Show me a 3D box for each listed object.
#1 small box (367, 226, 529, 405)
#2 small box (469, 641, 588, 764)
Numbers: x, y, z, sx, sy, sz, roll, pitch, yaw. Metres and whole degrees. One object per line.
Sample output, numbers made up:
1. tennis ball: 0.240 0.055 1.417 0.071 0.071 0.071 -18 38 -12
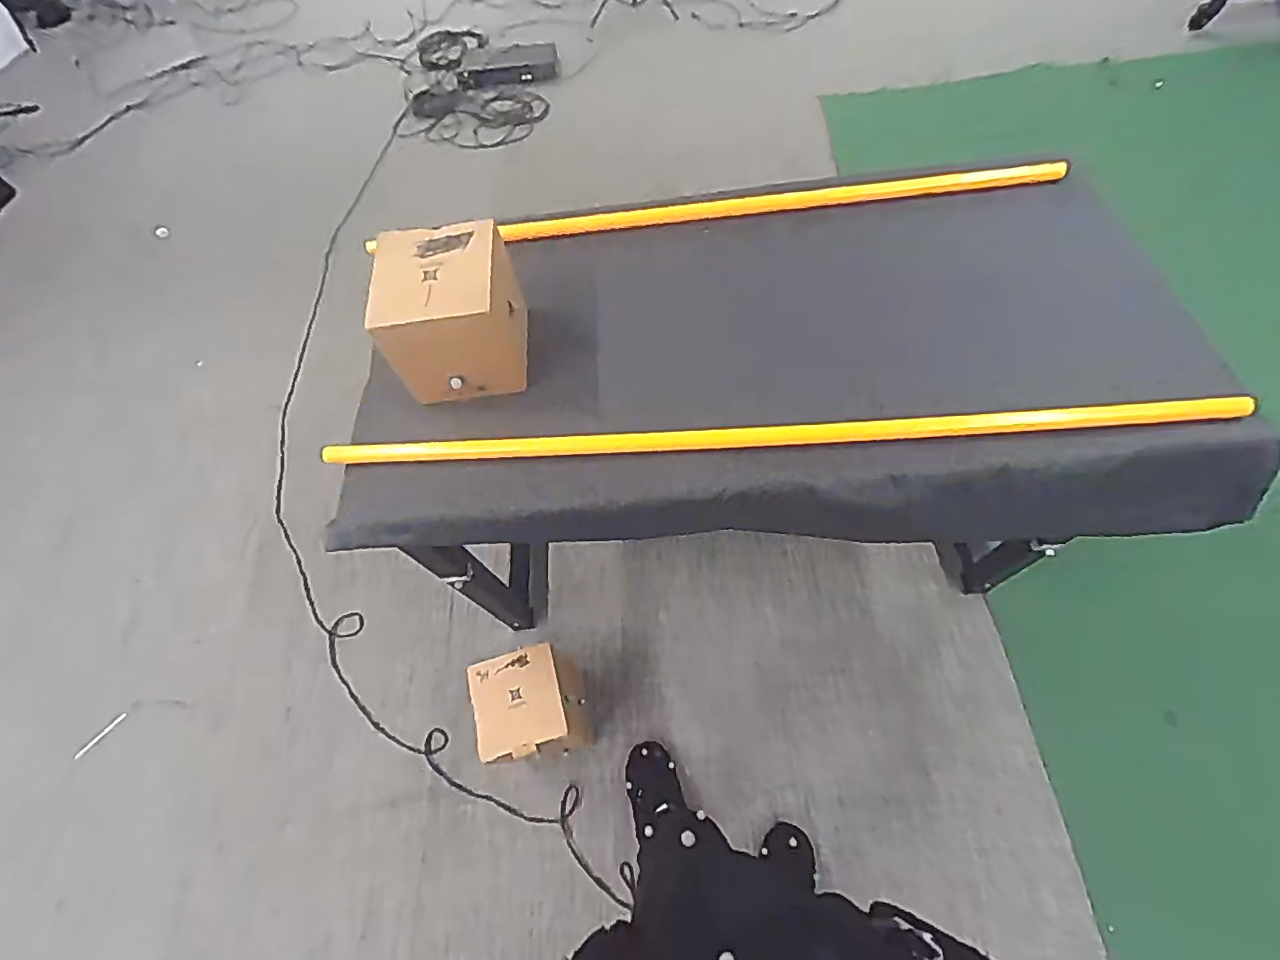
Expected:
1. small box: -0.265 -0.235 0.790 0.168 0.176 0.179 -7 62 3
2. small box: -0.215 0.443 1.075 0.168 0.176 0.179 -20 62 -2
